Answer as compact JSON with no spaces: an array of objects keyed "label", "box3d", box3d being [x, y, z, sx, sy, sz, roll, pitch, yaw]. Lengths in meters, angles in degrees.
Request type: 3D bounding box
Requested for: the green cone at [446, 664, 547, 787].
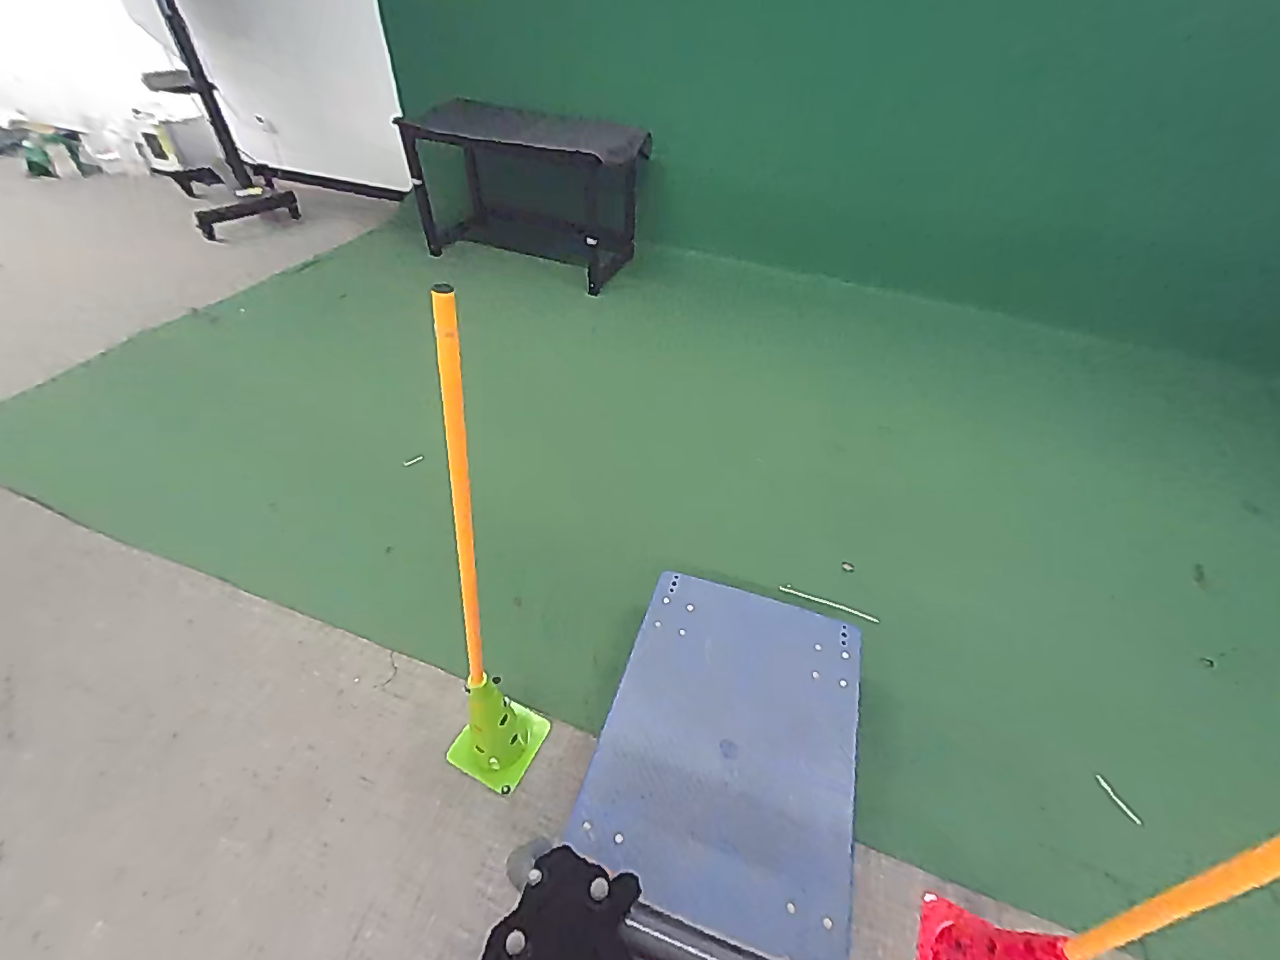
[{"label":"green cone","box3d":[-0.363,0.542,1.290,0.202,0.368,0.200,20,46,17]}]
